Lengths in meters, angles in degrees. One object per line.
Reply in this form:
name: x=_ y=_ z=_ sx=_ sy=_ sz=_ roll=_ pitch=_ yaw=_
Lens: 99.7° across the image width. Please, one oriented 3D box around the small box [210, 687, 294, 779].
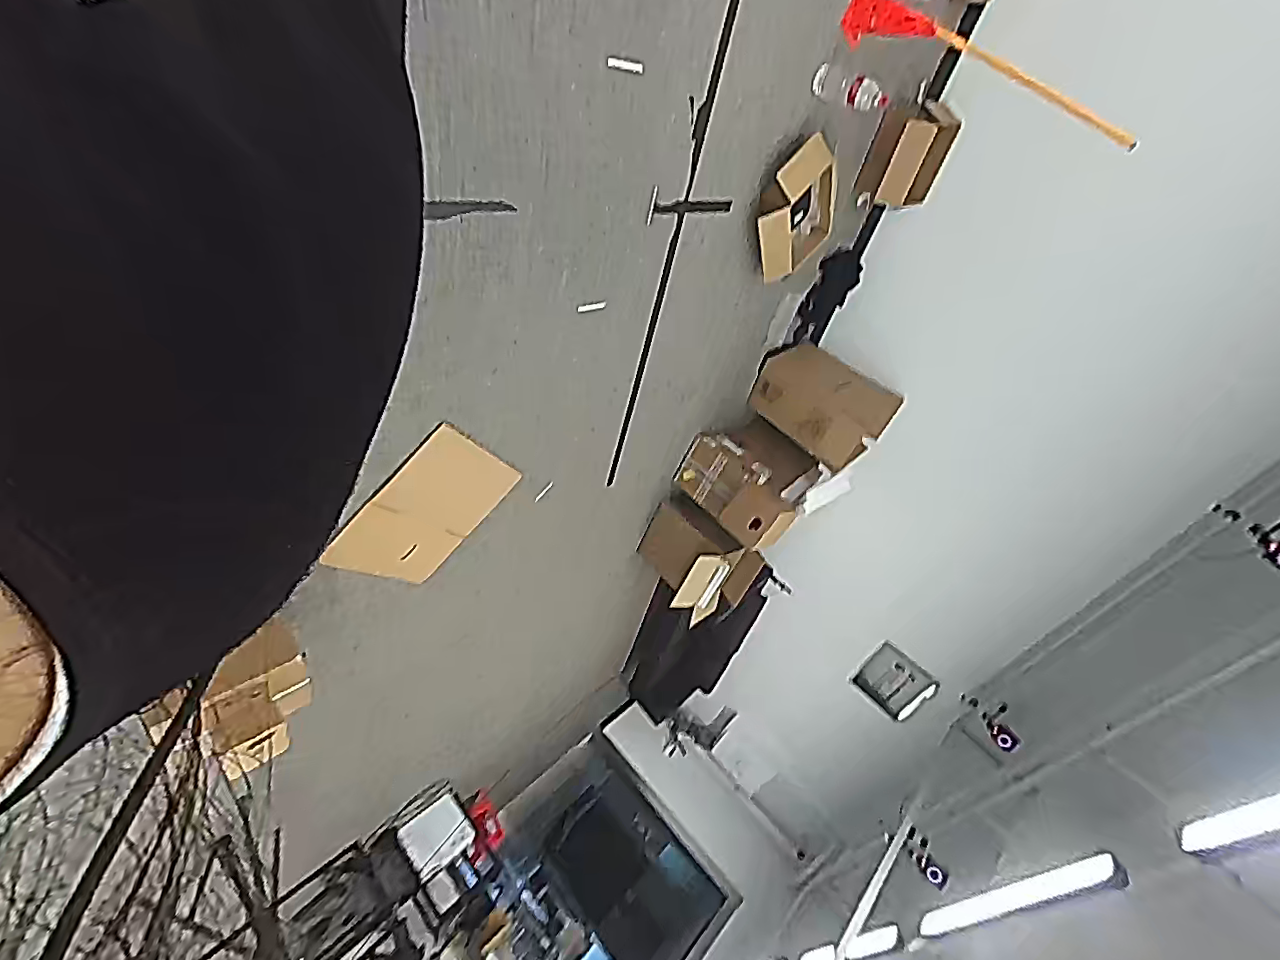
small box: x=-1.218 y=0.785 z=1.697 sx=0.168 sy=0.176 sz=0.179 roll=-22 pitch=143 yaw=-44
